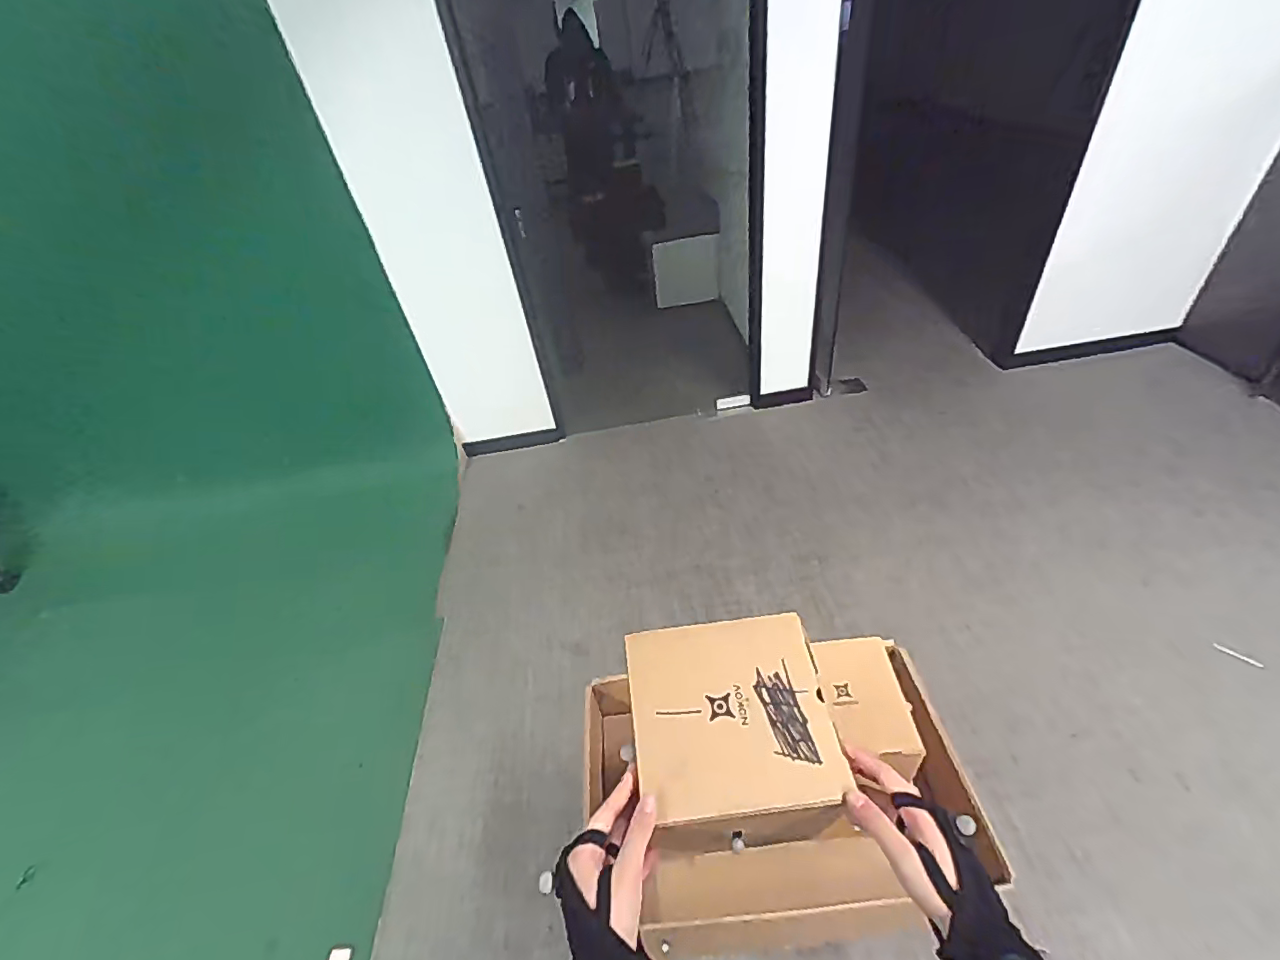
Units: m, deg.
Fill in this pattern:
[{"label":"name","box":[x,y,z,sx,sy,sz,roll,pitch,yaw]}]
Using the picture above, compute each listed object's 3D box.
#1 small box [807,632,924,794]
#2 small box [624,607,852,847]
[{"label":"small box","box":[0.305,0.361,0.834,0.168,0.176,0.179,-7,41,5]},{"label":"small box","box":[0.080,0.247,0.537,0.179,0.176,0.168,-6,47,-2]}]
